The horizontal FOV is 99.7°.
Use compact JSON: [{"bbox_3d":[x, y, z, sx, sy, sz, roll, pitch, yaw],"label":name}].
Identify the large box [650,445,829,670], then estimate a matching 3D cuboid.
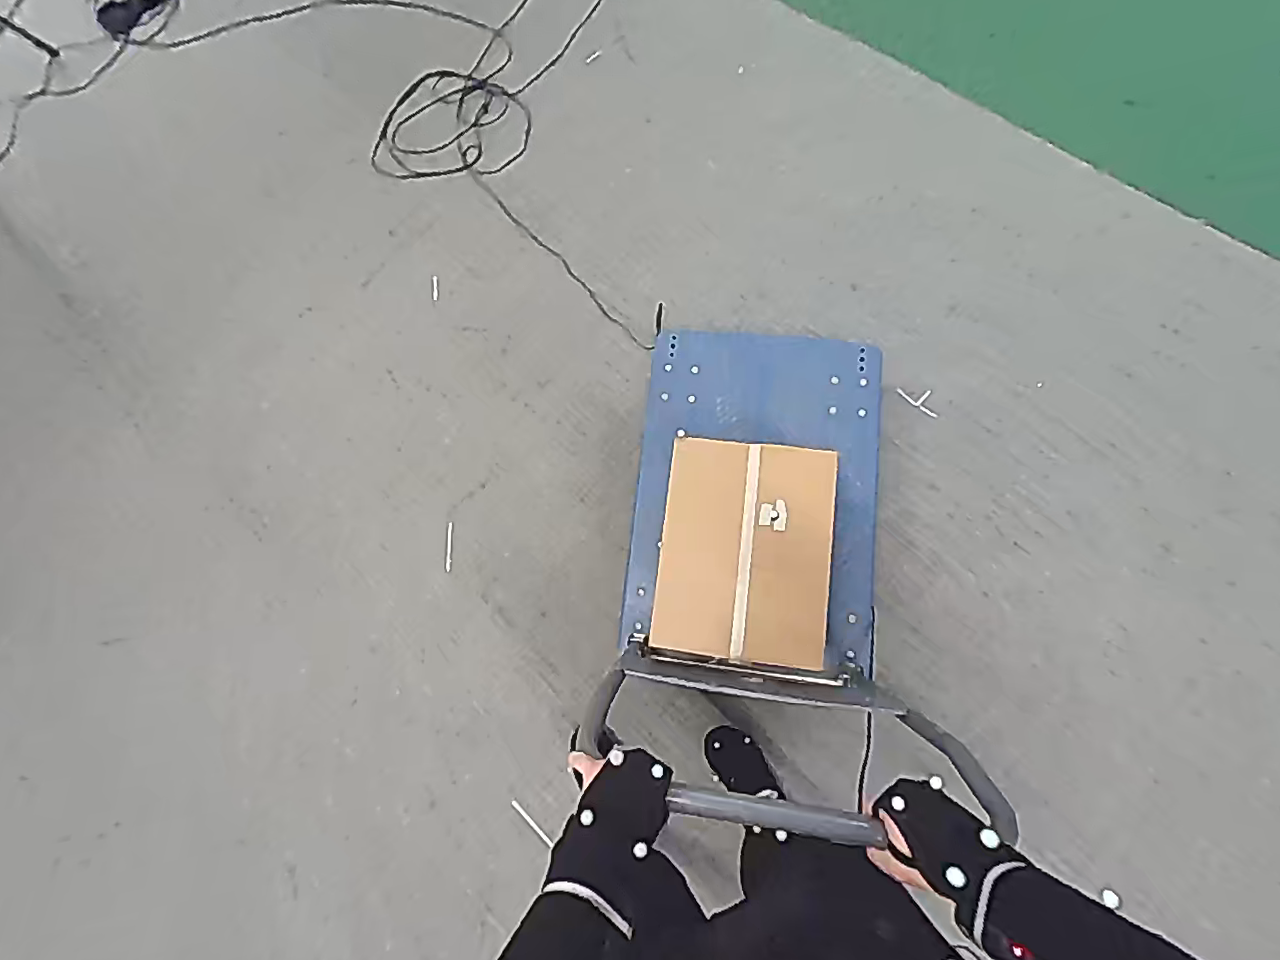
[{"bbox_3d":[0.210,0.172,1.171,0.320,0.320,0.408,7,77,7],"label":"large box"}]
